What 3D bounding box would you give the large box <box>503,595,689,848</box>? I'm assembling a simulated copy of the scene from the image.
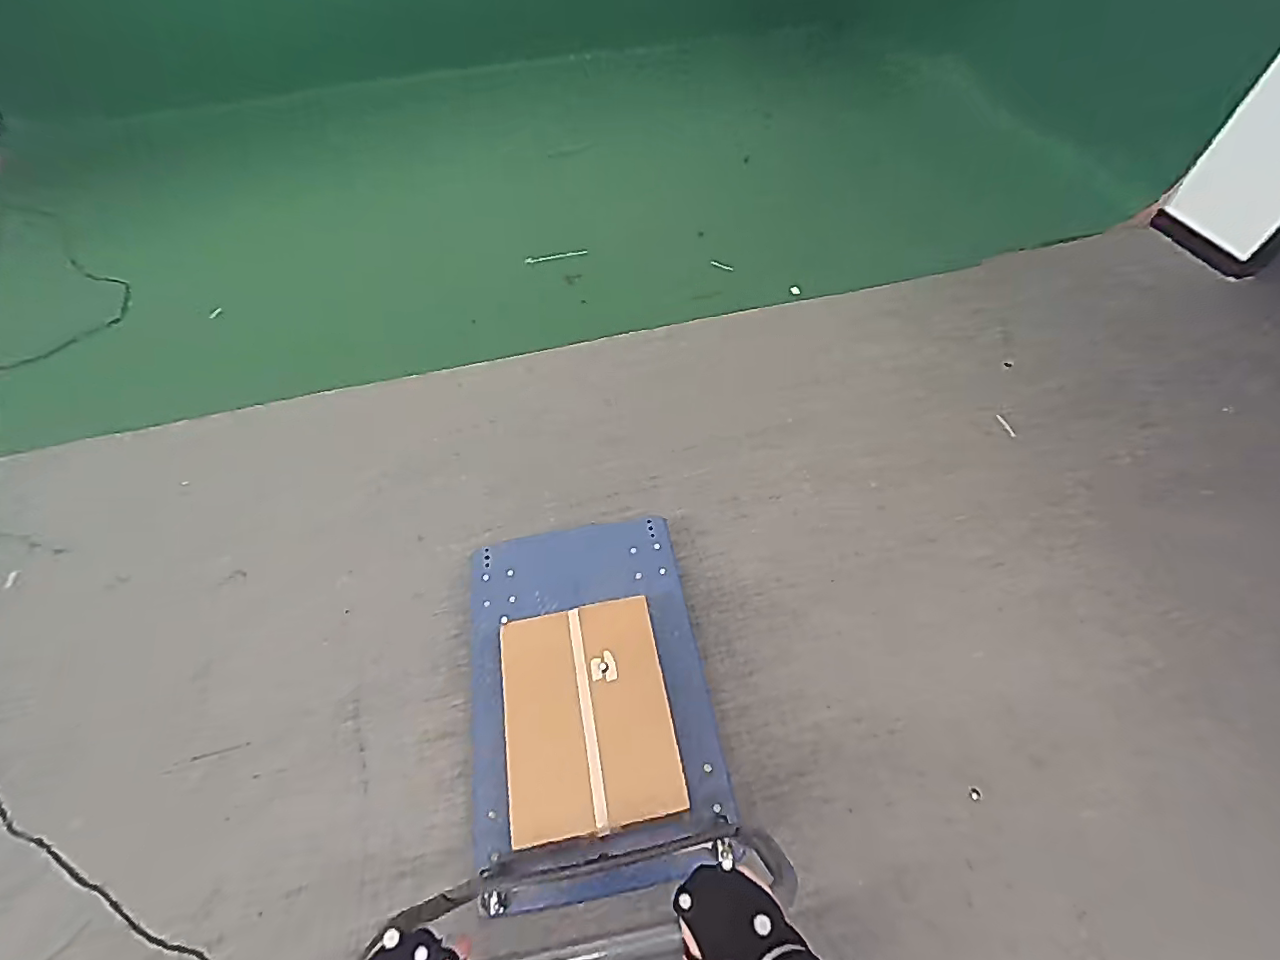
[{"bbox_3d":[-0.094,0.519,1.162,0.320,0.320,0.408,-10,55,-5],"label":"large box"}]
